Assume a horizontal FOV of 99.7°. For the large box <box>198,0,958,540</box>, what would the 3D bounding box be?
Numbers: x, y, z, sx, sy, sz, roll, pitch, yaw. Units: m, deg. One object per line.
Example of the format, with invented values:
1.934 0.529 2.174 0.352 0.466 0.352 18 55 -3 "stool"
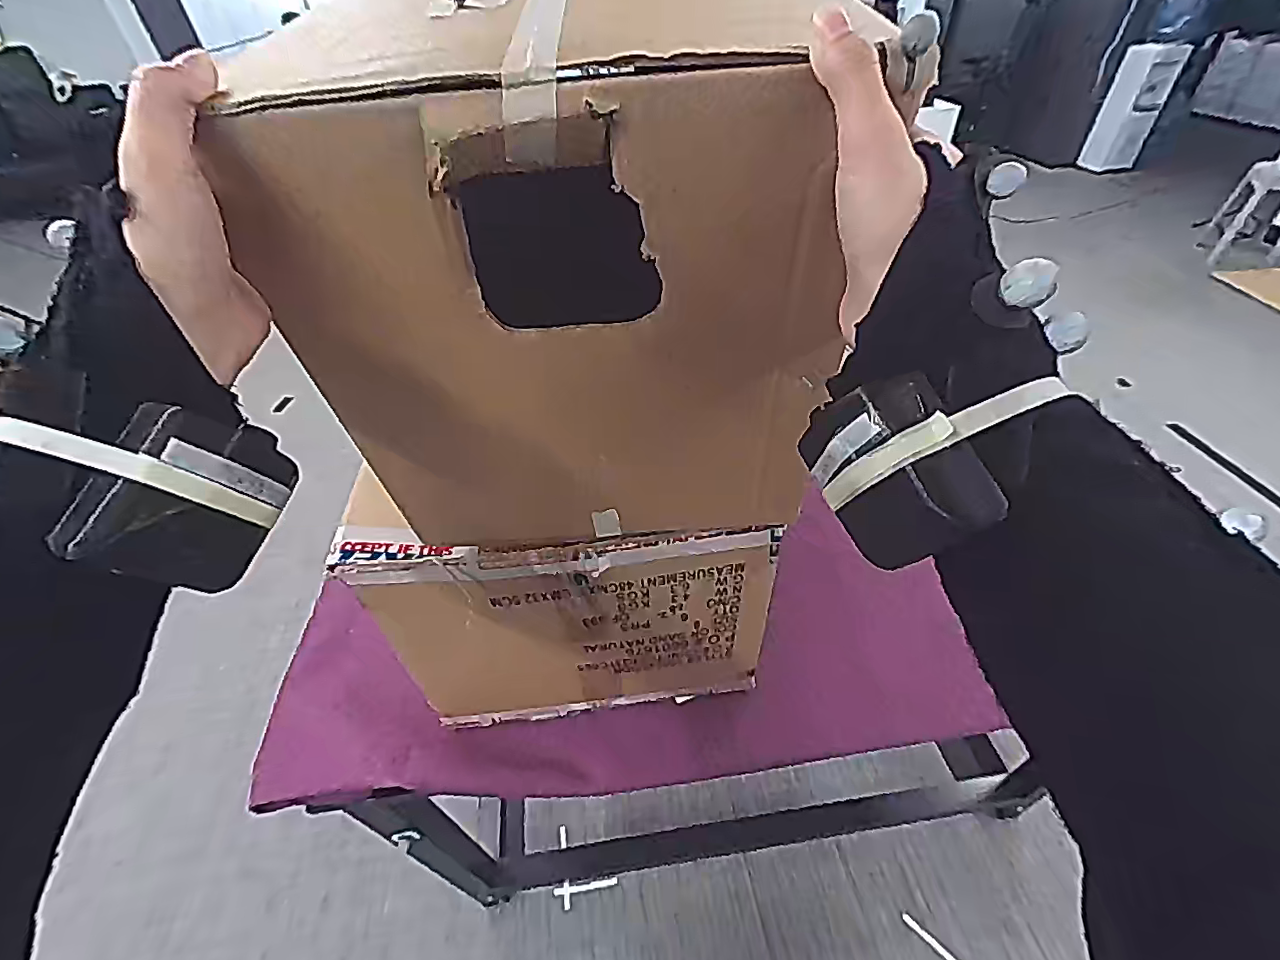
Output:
-0.031 -0.207 0.451 0.320 0.320 0.408 -5 51 1 "large box"
